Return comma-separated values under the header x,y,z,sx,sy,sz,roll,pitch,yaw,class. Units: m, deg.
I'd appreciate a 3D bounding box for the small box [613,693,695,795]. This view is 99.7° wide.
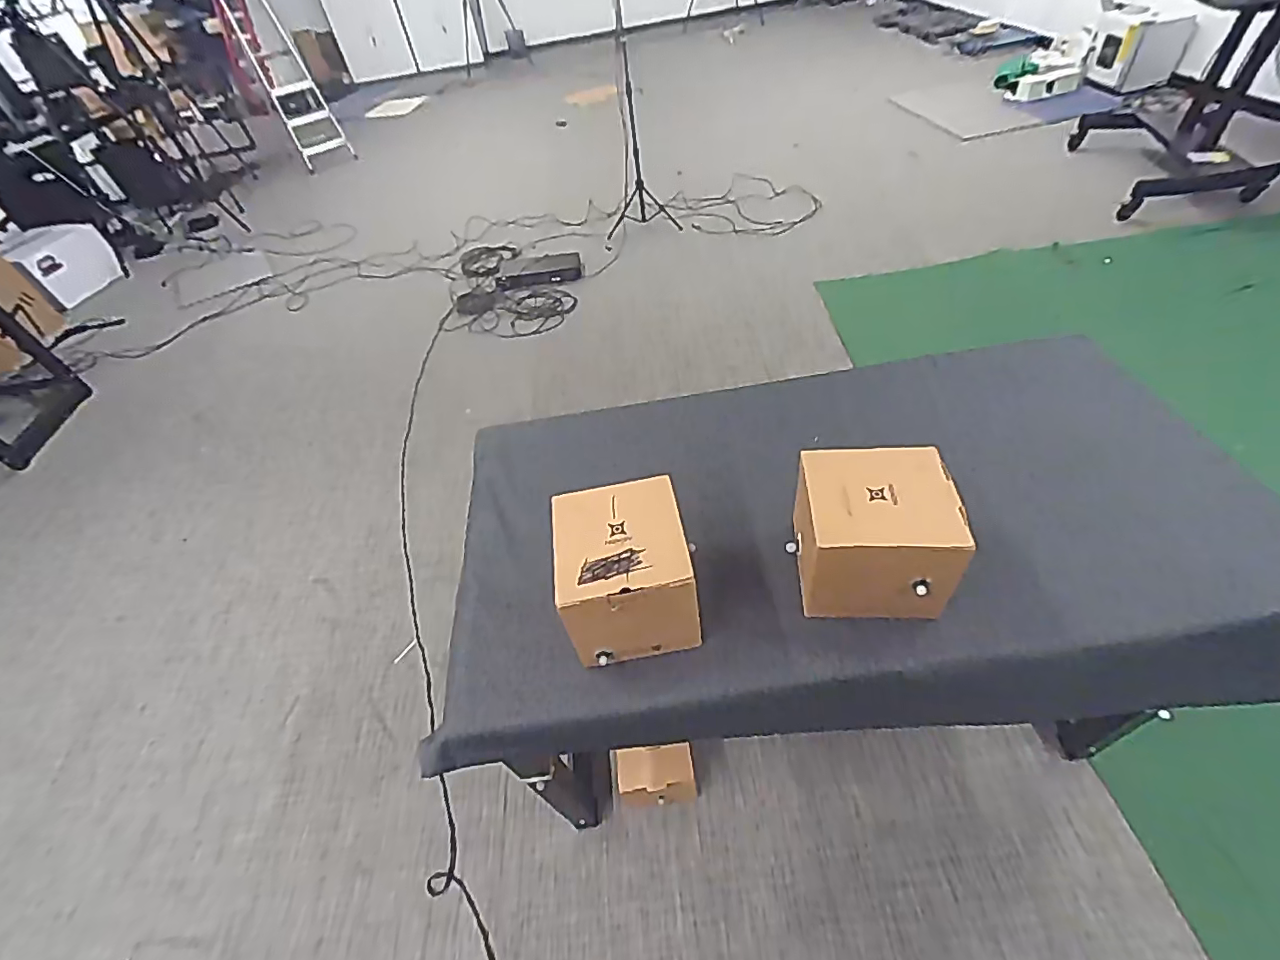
x,y,z,sx,sy,sz,roll,pitch,yaw,class
0.035,0.627,1.273,0.168,0.176,0.179,-9,48,1,small box

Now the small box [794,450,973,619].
x,y,z,sx,sy,sz,roll,pitch,yaw,class
0.312,0.076,0.737,0.179,0.176,0.168,-2,47,9,small box

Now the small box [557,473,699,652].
x,y,z,sx,sy,sz,roll,pitch,yaw,class
-0.015,0.120,0.745,0.168,0.176,0.179,-9,46,0,small box
